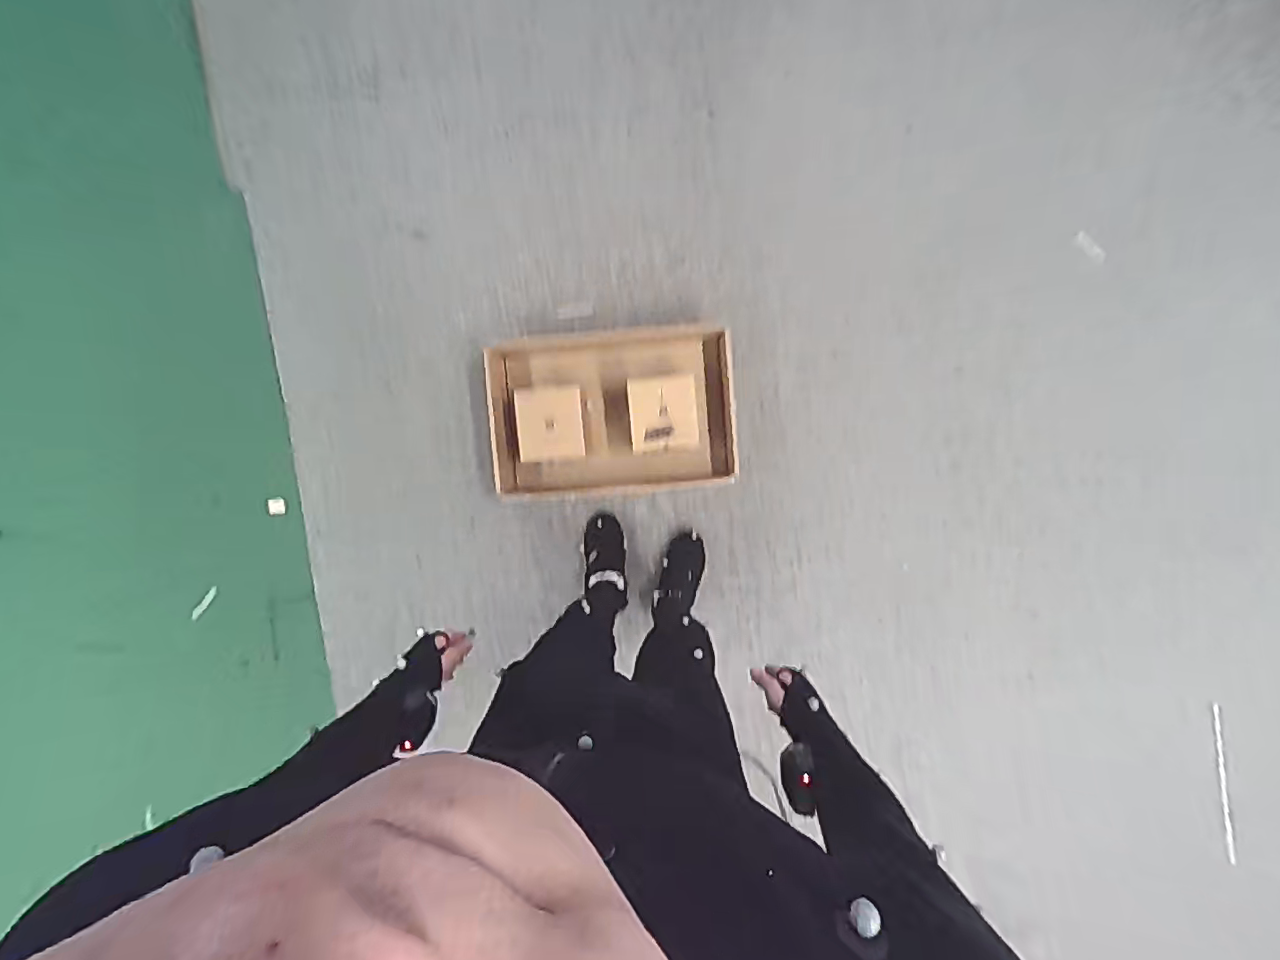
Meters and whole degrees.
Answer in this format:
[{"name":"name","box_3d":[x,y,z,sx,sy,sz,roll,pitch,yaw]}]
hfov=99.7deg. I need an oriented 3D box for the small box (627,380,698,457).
[{"name":"small box","box_3d":[0.059,-0.153,1.389,0.168,0.176,0.179,-5,91,2]}]
